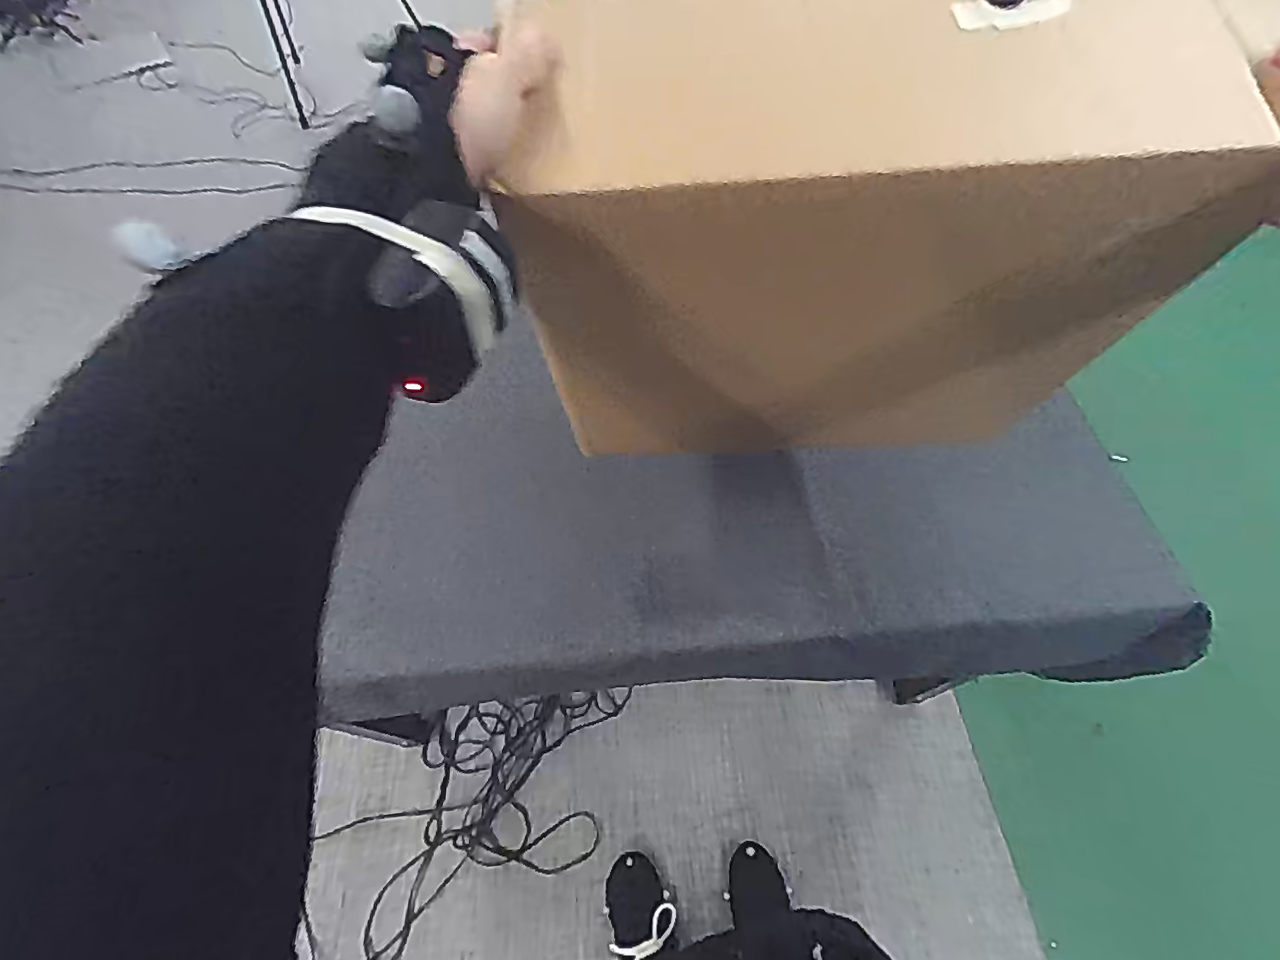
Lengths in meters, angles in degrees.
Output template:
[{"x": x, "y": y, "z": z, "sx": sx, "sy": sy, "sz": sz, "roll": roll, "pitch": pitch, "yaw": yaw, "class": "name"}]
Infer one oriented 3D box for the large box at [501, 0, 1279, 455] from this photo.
[{"x": 0.126, "y": -0.228, "z": 0.452, "sx": 0.408, "sy": 0.320, "sz": 0.320, "roll": -2, "pitch": 69, "yaw": 1, "class": "large box"}]
